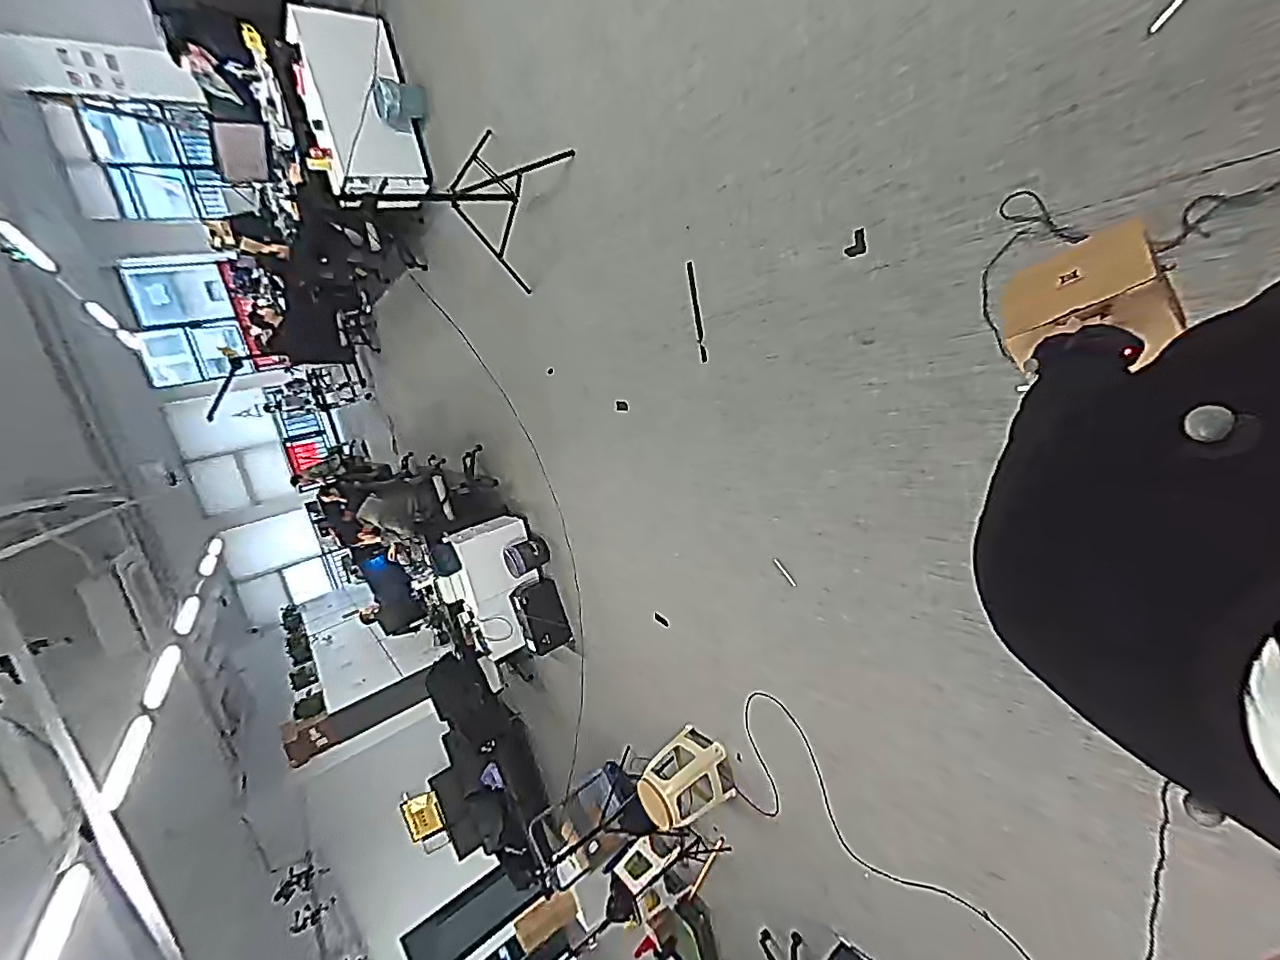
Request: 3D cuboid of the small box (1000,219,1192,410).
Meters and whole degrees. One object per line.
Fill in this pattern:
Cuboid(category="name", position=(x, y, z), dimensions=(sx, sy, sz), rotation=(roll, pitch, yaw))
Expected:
Cuboid(category="small box", position=(0.644, -0.222, 0.775), dimensions=(0.176, 0.179, 0.168), rotation=(44, 142, -20))
